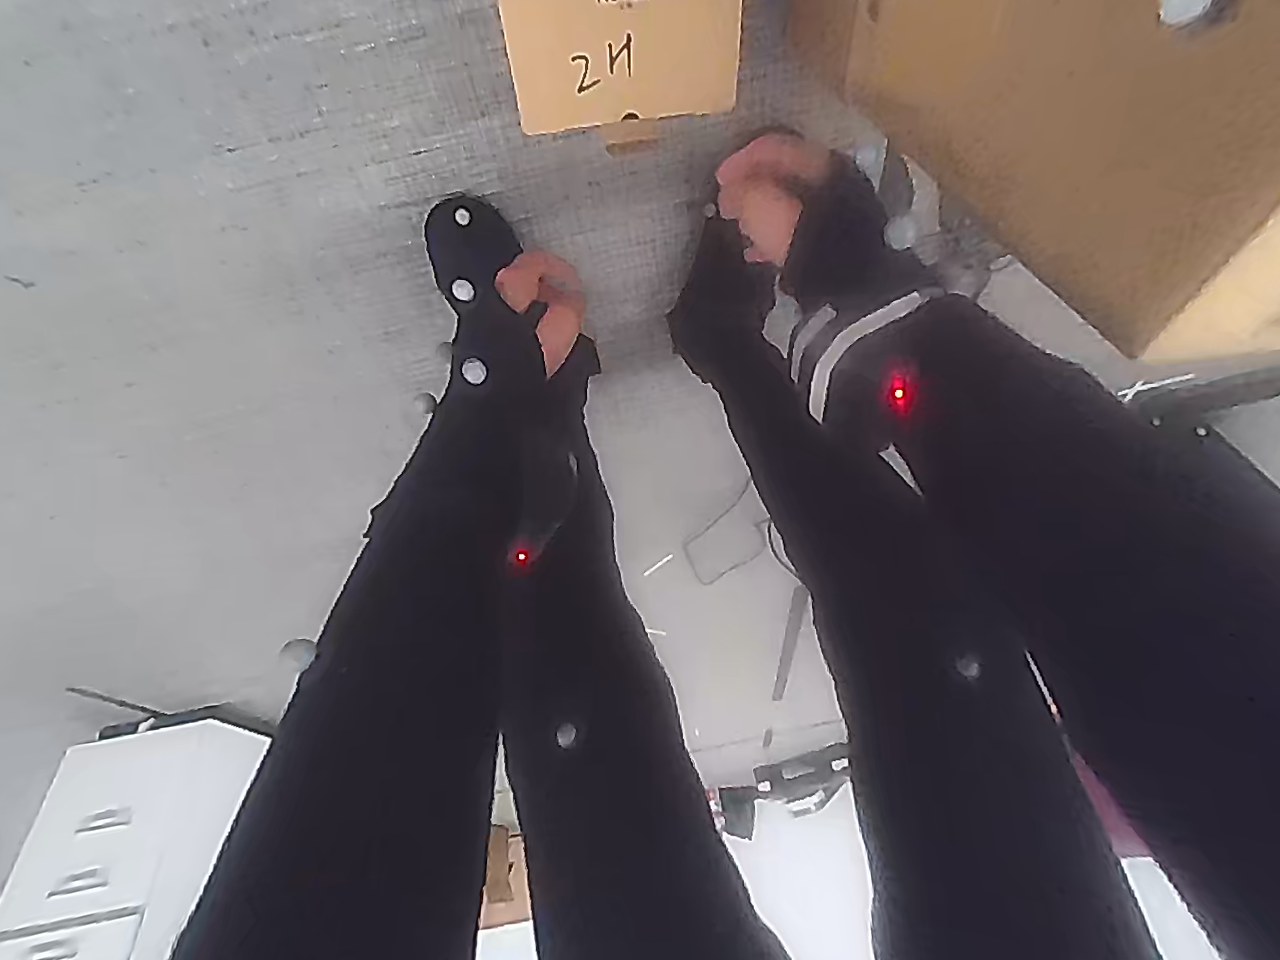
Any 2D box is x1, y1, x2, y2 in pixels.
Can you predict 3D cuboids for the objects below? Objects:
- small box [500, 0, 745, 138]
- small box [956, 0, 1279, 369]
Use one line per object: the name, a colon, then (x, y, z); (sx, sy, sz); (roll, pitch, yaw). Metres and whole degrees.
small box: (-0.023, -0.385, 0.396); (0.168, 0.176, 0.179); (-9, 142, -3)
small box: (0.269, -0.170, 0.214); (0.168, 0.176, 0.179); (-6, 141, -6)
